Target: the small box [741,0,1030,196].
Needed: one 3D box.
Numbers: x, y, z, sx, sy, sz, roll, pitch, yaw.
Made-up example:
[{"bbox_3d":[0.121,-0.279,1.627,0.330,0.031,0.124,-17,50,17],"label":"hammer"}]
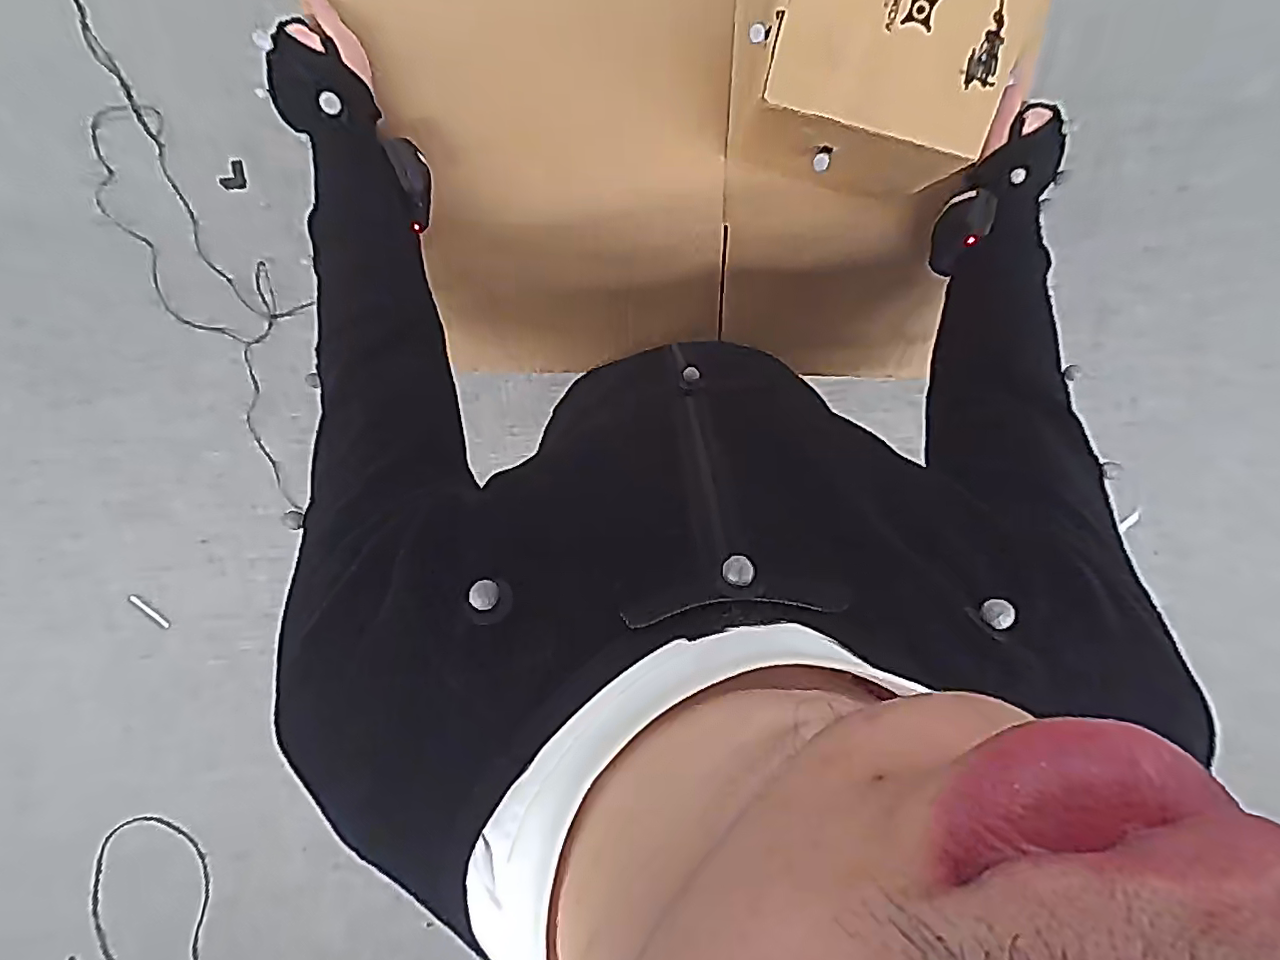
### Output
[{"bbox_3d":[0.198,-0.369,0.472,0.179,0.176,0.168,14,106,-1],"label":"small box"}]
